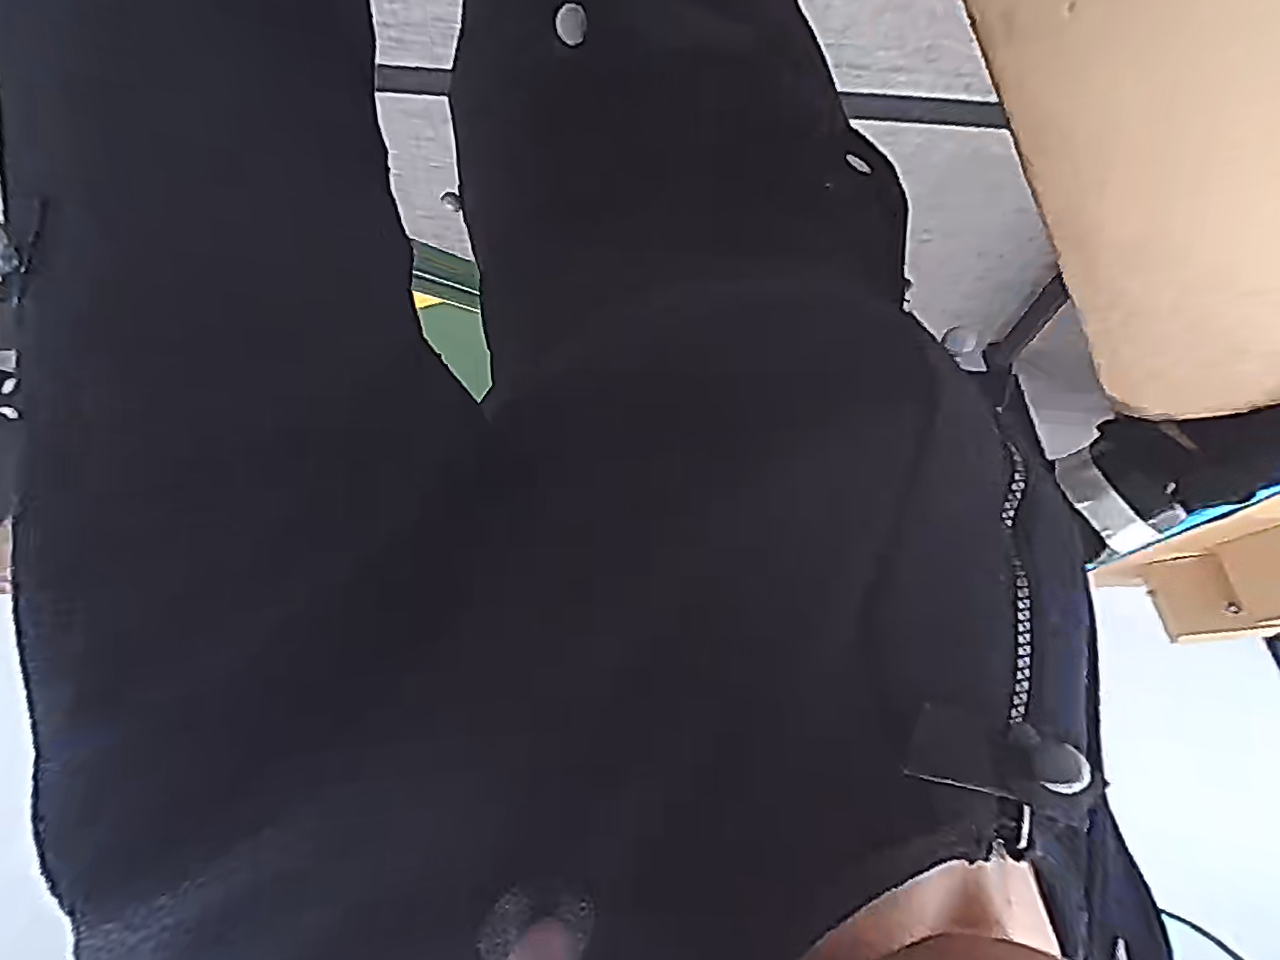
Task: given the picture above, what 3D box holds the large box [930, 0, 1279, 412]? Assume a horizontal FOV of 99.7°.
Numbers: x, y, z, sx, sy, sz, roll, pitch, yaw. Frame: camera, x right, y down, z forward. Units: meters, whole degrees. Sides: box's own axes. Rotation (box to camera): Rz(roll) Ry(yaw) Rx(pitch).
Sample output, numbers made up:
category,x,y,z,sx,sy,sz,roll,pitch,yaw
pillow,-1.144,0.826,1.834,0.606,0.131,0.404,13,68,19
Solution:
category,x,y,z,sx,sy,sz,roll,pitch,yaw
large box,0.297,-0.269,0.162,0.408,0.320,0.320,31,158,-37
